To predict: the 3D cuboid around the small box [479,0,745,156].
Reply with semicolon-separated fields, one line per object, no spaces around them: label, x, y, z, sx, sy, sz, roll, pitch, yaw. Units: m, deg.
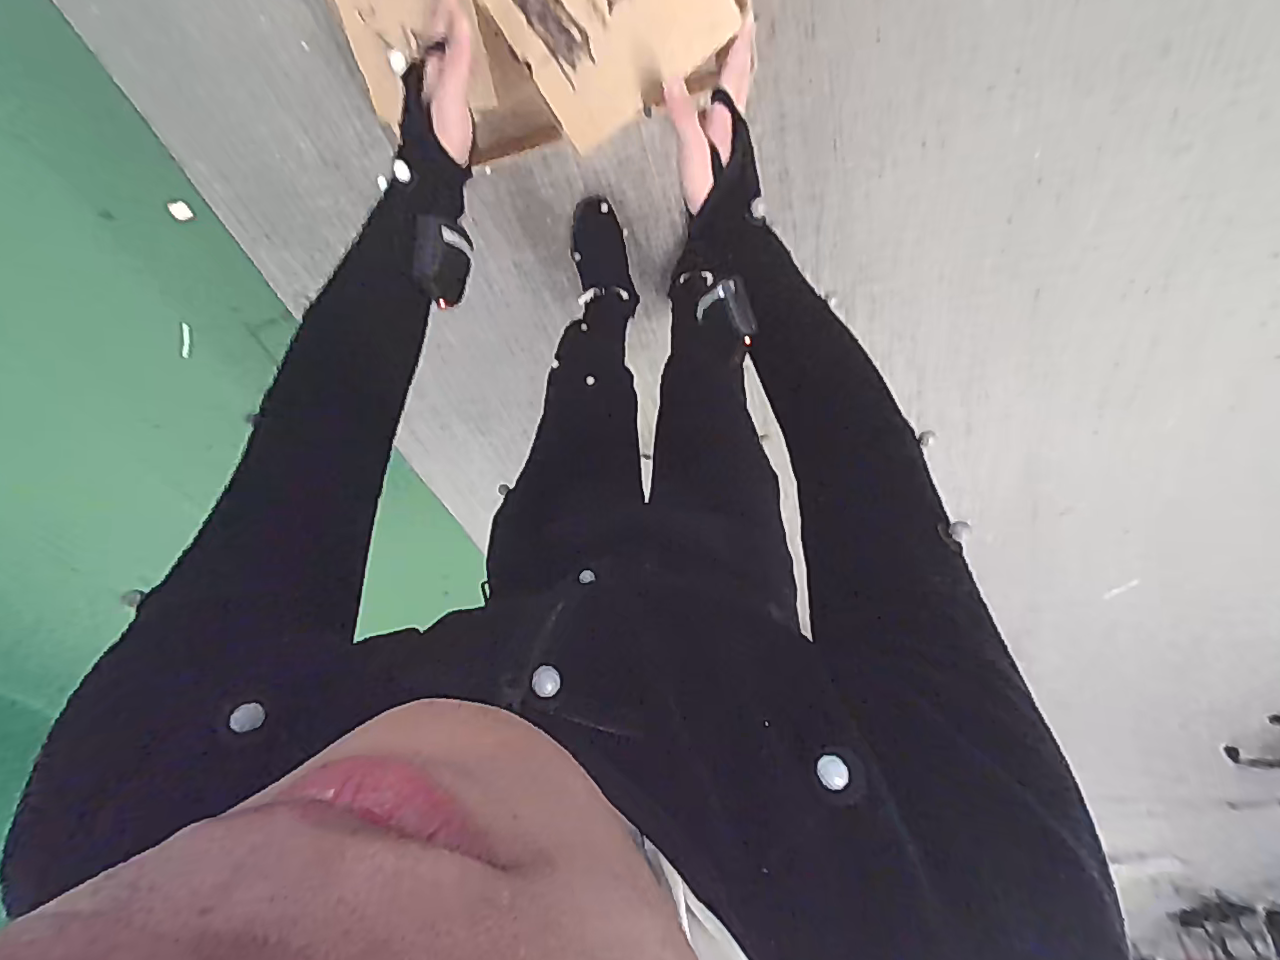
small box;-0.026;-0.440;0.497;0.179;0.176;0.168;-29;124;21
